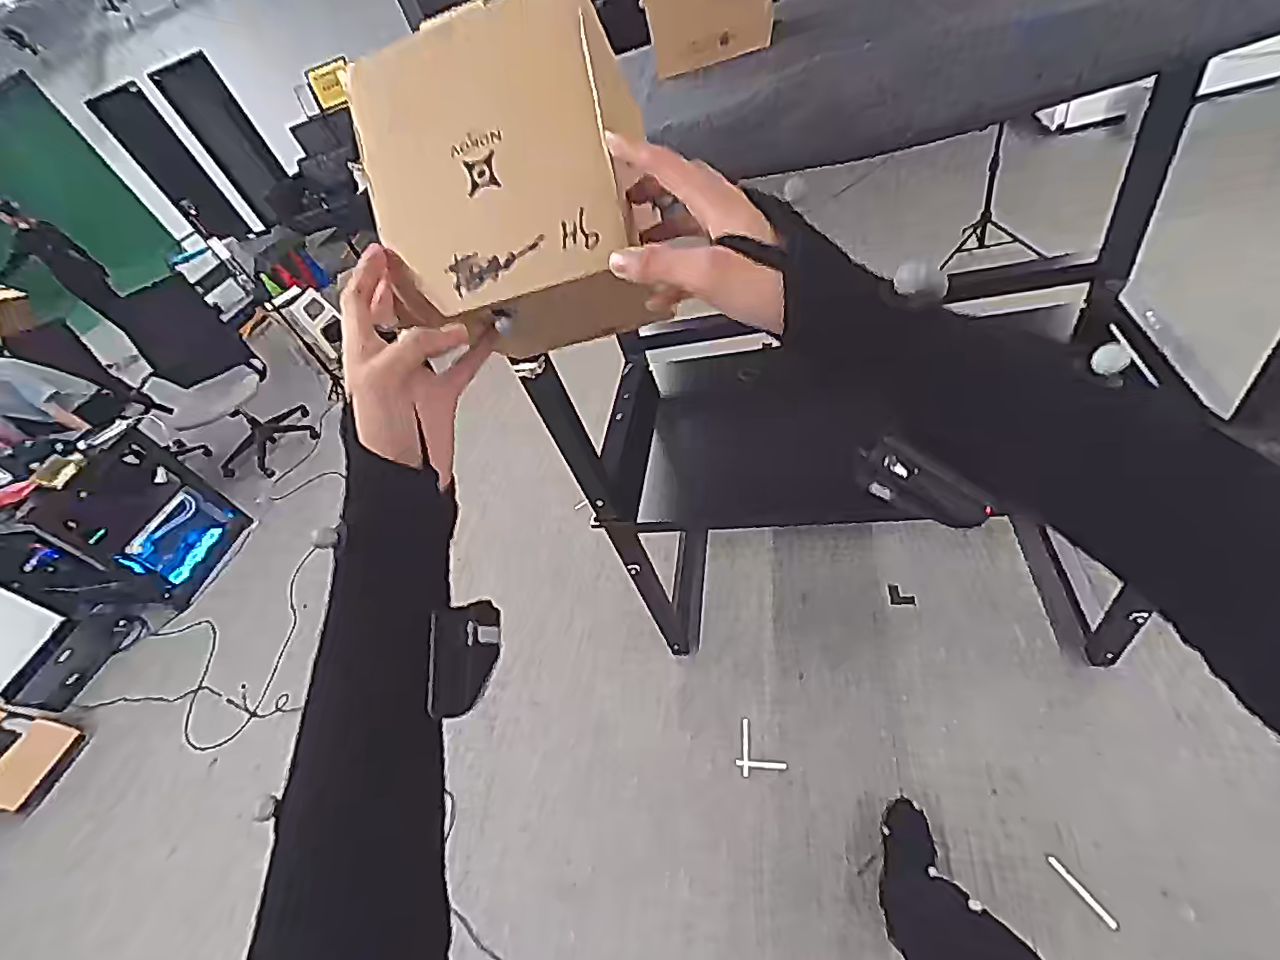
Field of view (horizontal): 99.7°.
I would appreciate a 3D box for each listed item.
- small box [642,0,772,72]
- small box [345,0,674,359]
[{"bbox_3d":[0.098,-0.724,0.782,0.168,0.176,0.179,-2,49,19],"label":"small box"},{"bbox_3d":[-0.078,-0.202,0.410,0.168,0.179,0.176,-10,4,15],"label":"small box"}]
